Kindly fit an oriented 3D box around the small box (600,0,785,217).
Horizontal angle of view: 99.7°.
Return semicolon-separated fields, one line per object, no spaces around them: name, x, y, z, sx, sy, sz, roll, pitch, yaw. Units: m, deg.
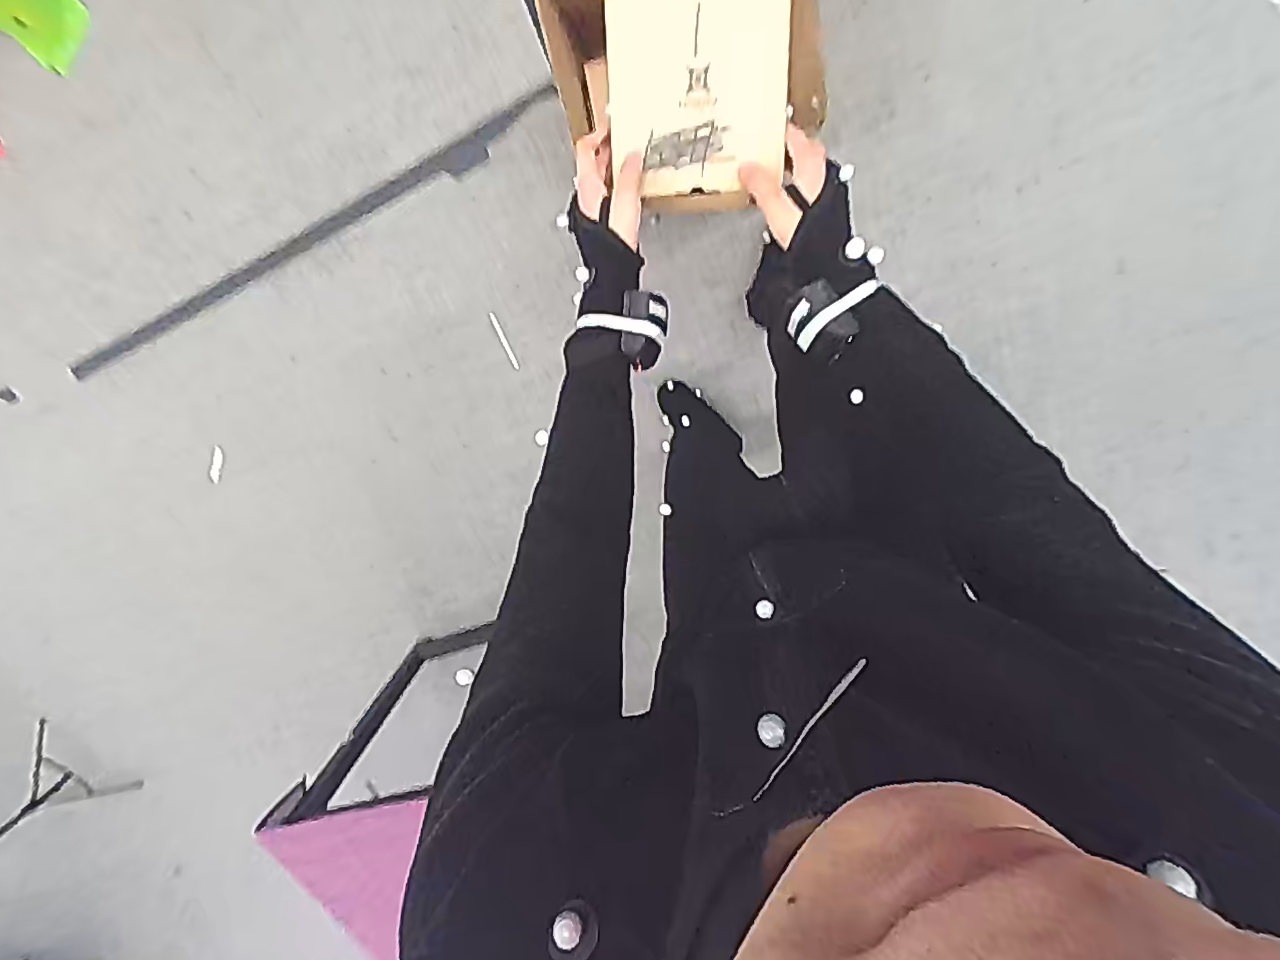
small box;0.055;-0.383;0.575;0.168;0.176;0.179;-1;110;5
